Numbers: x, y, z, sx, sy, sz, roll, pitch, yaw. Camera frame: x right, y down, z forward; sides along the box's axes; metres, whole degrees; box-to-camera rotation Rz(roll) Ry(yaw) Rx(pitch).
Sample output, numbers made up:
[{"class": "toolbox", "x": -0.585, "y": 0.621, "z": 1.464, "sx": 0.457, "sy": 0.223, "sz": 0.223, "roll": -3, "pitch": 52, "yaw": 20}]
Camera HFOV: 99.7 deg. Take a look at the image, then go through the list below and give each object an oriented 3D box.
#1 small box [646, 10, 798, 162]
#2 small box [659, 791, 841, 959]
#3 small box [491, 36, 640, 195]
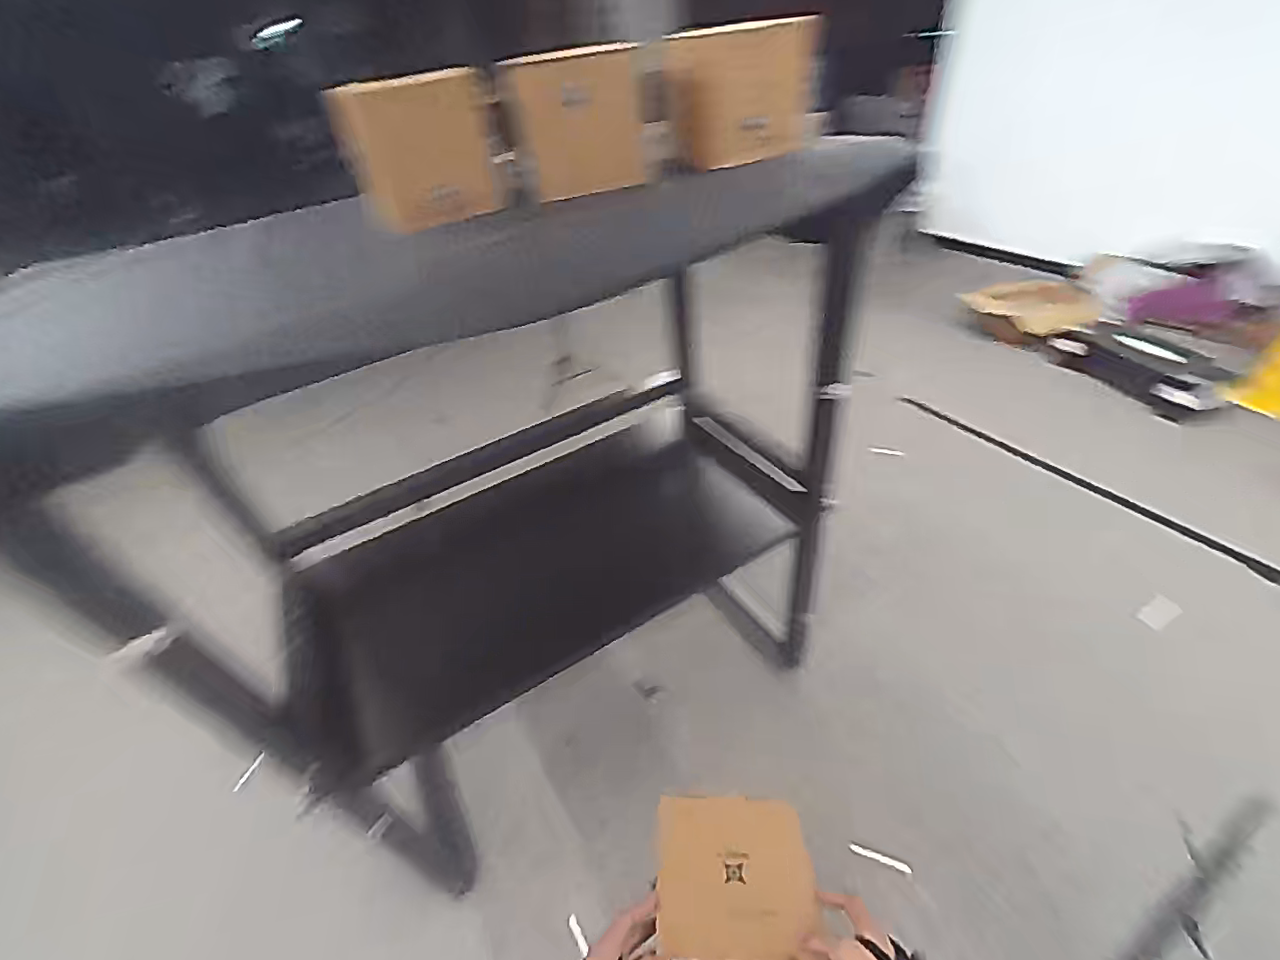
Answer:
[{"class": "small box", "x": 0.125, "y": -0.618, "z": 0.855, "sx": 0.168, "sy": 0.176, "sz": 0.179, "roll": -23, "pitch": 42, "yaw": -15}, {"class": "small box", "x": 0.105, "y": 0.481, "z": 0.591, "sx": 0.168, "sy": 0.176, "sz": 0.179, "roll": 1, "pitch": 20, "yaw": 4}, {"class": "small box", "x": -0.110, "y": -0.542, "z": 0.810, "sx": 0.179, "sy": 0.176, "sz": 0.168, "roll": -15, "pitch": 41, "yaw": -8}]
